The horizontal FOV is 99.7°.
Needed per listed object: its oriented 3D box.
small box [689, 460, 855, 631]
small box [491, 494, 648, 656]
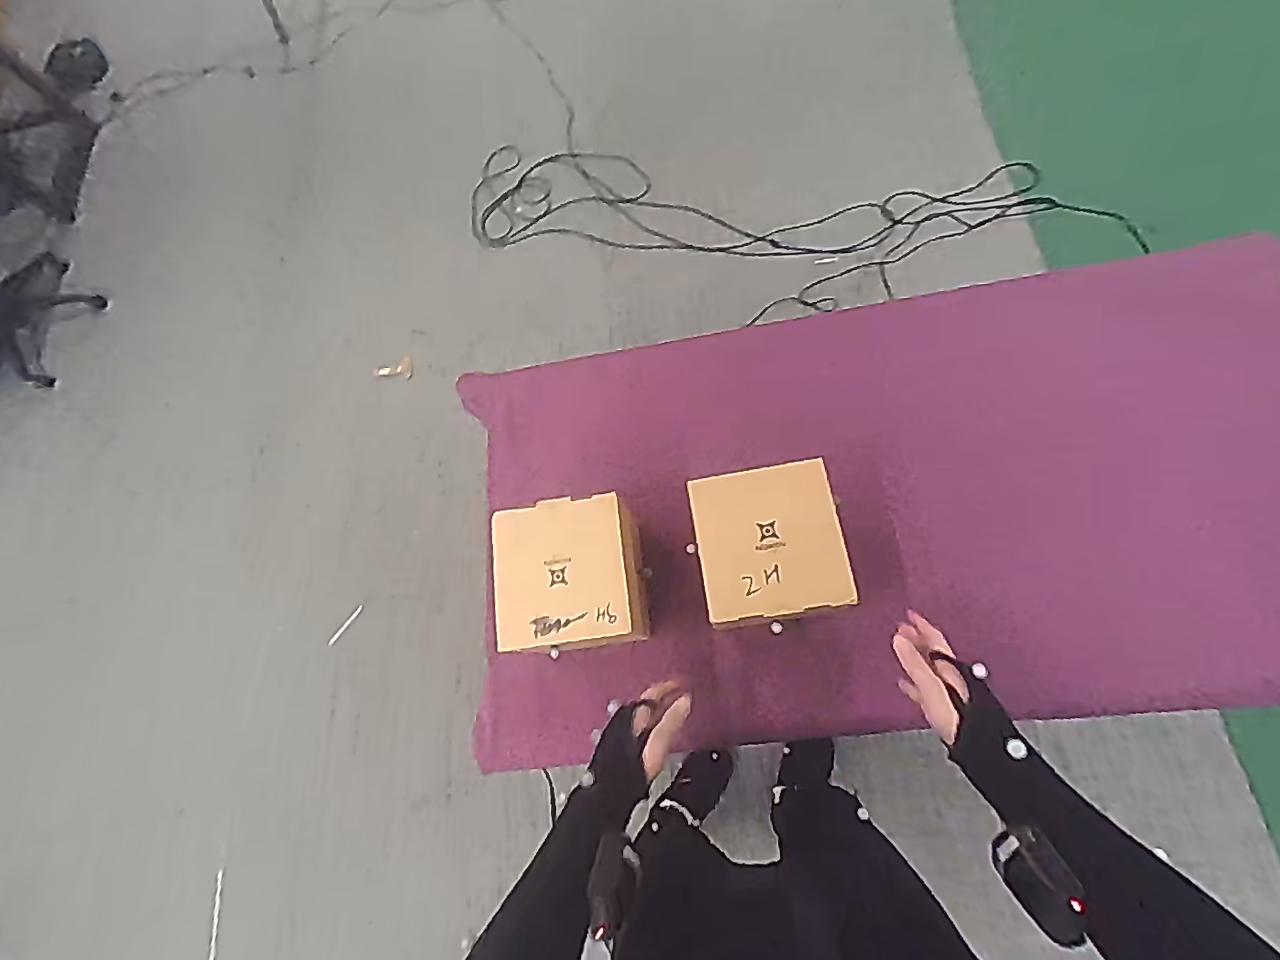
[{"bbox_3d":[0.158,0.093,0.701,0.168,0.176,0.179,-10,70,6],"label":"small box"},{"bbox_3d":[-0.088,0.136,0.726,0.168,0.176,0.179,-10,70,7],"label":"small box"}]
